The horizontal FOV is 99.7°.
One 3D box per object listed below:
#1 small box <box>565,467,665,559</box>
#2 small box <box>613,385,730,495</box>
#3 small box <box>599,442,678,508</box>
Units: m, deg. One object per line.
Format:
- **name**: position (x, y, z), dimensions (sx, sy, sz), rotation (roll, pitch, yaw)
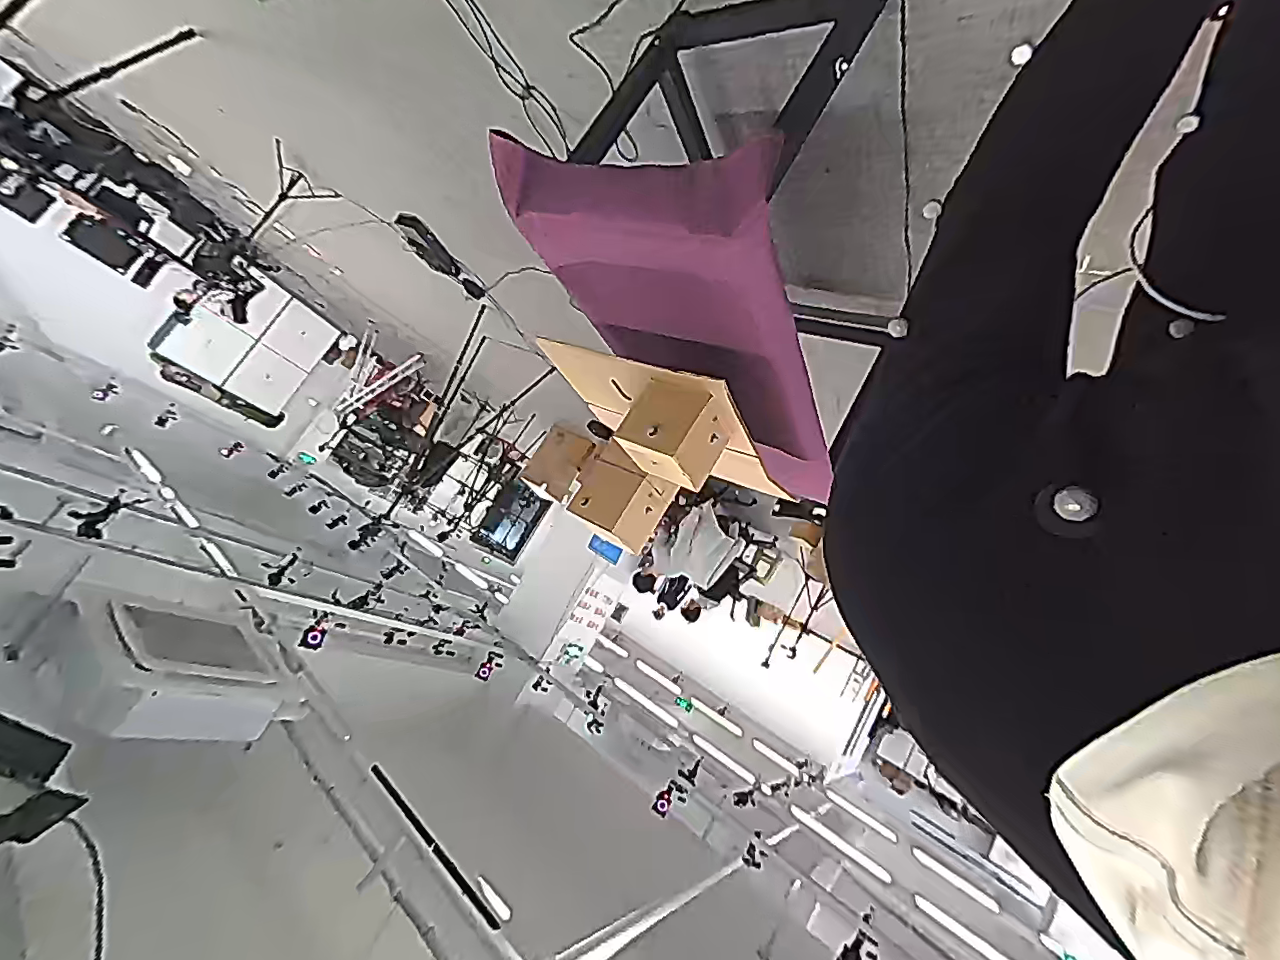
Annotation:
- **small box**: position (-0.063, 0.084, 1.473), dimensions (0.179, 0.176, 0.168), rotation (21, 163, 36)
- **small box**: position (0.077, -0.096, 1.238), dimensions (0.179, 0.176, 0.168), rotation (21, 163, 36)
- **small box**: position (0.024, -0.051, 1.509), dimensions (0.179, 0.176, 0.168), rotation (23, 163, 36)
